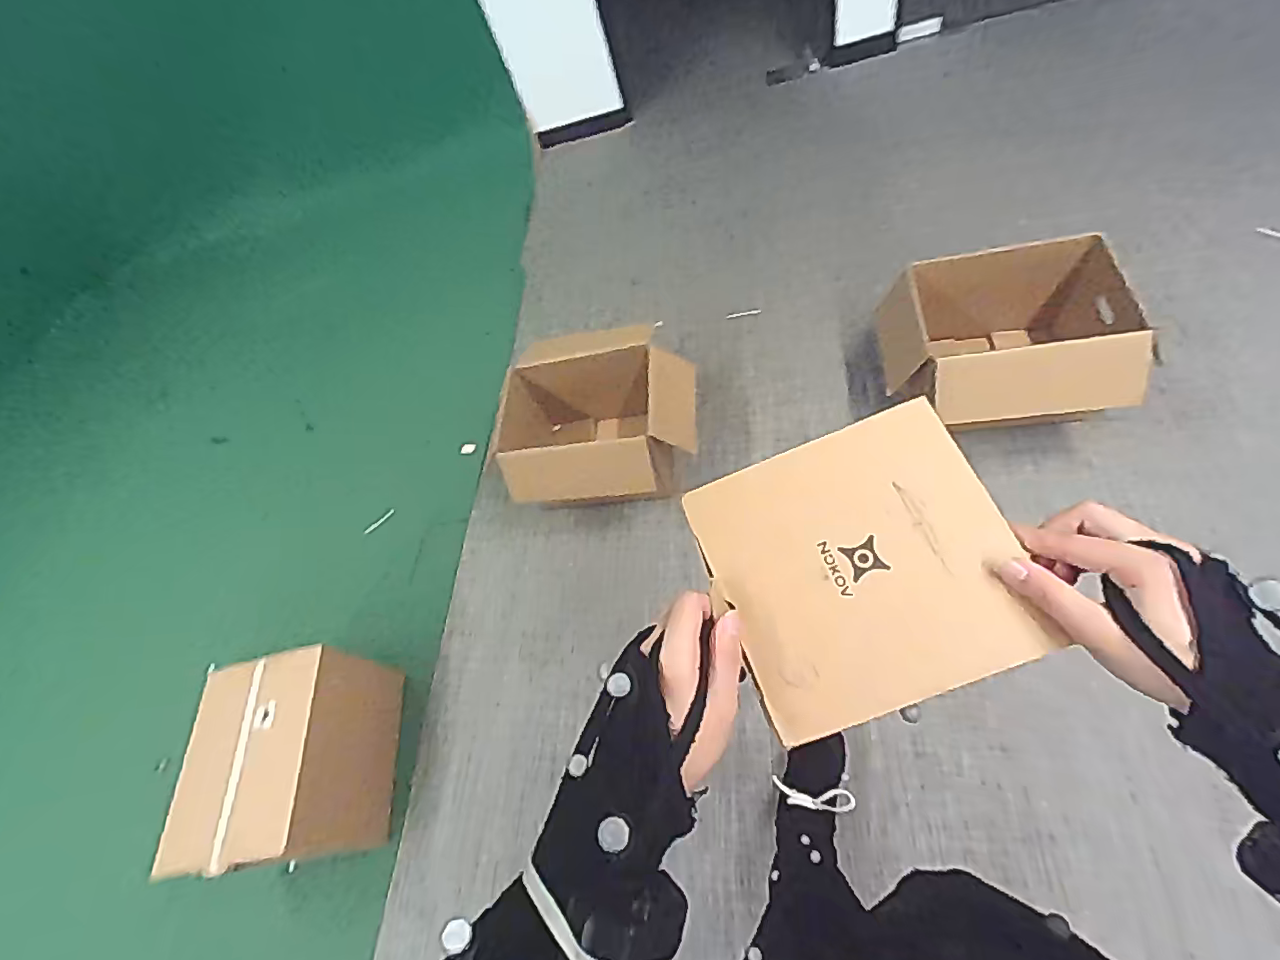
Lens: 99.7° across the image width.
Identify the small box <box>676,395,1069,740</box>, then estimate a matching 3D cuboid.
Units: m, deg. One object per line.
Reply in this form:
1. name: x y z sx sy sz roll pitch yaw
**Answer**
1. small box: 0.143 0.072 0.399 0.179 0.176 0.168 -22 69 3
